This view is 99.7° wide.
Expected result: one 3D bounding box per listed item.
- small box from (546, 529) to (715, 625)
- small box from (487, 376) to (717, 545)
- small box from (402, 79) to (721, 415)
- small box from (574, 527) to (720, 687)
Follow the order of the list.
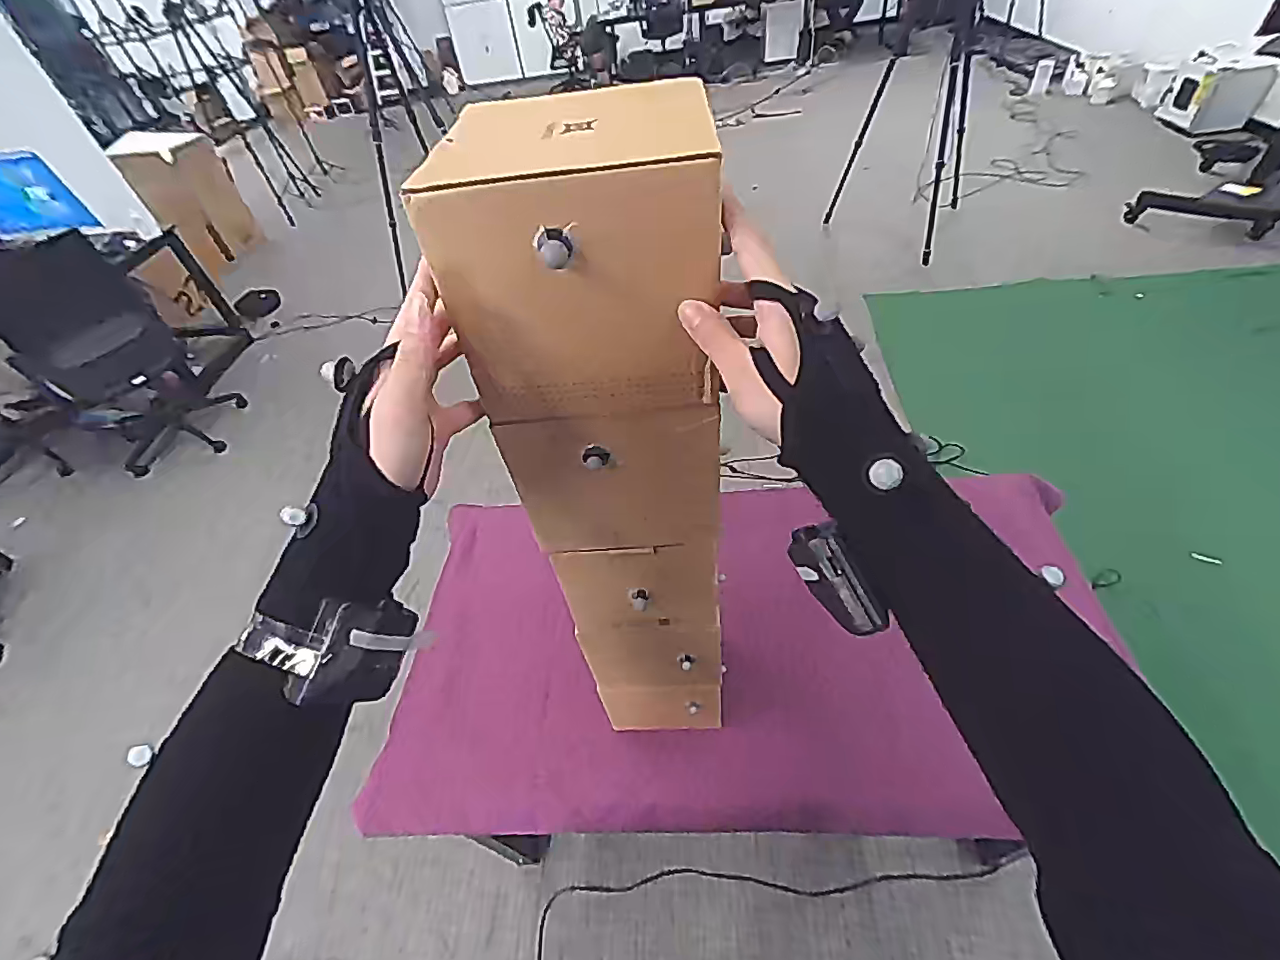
[{"bbox_3d":[-0.001,0.059,0.637,0.168,0.176,0.179,-4,47,5],"label":"small box"},{"bbox_3d":[-0.021,-0.051,0.516,0.179,0.176,0.168,-4,46,5],"label":"small box"},{"bbox_3d":[-0.035,-0.165,0.400,0.179,0.176,0.168,-5,47,6],"label":"small box"},{"bbox_3d":[0.018,0.175,0.750,0.179,0.176,0.168,-4,46,6],"label":"small box"}]
